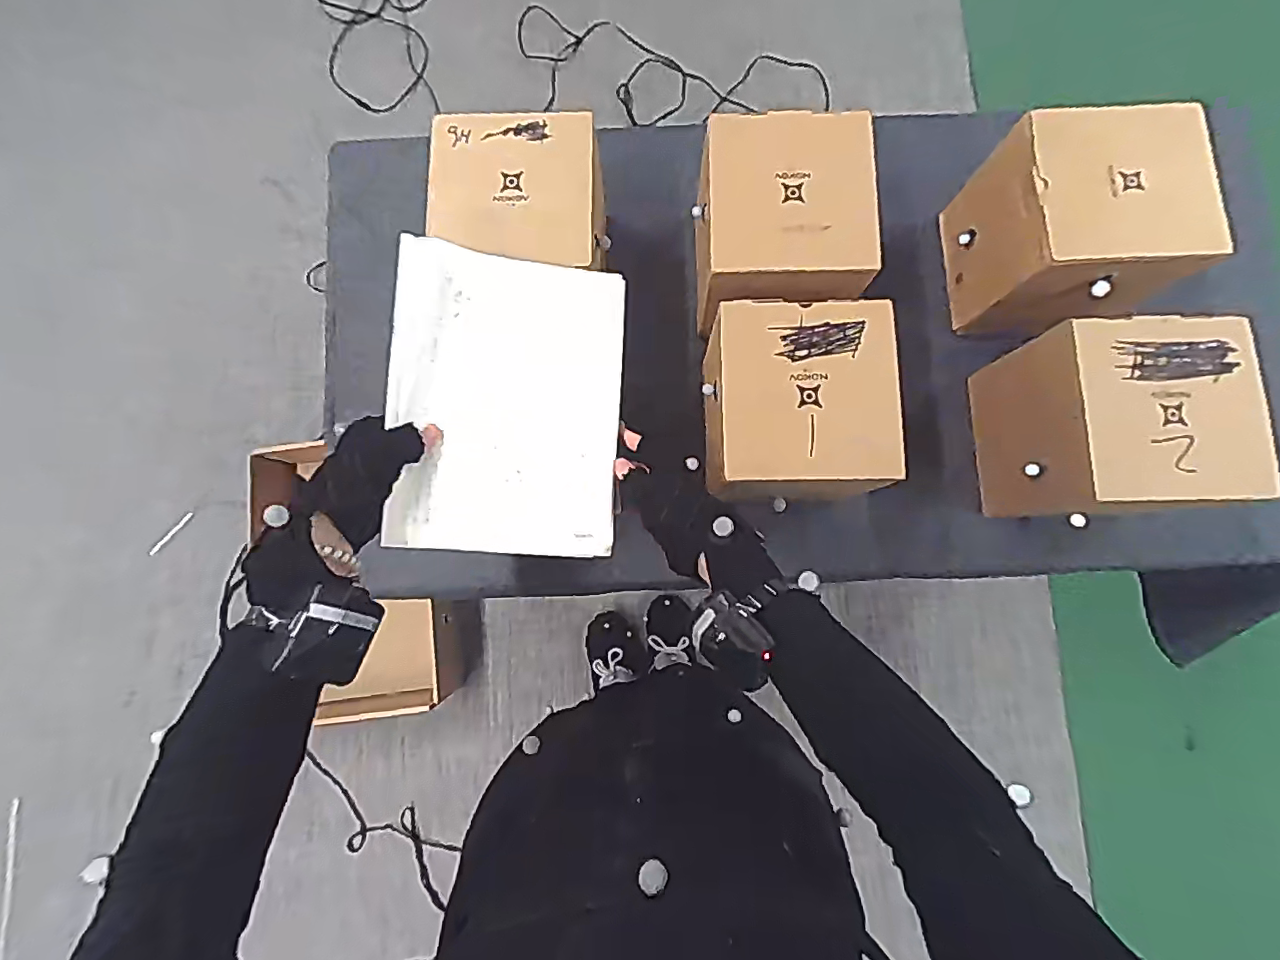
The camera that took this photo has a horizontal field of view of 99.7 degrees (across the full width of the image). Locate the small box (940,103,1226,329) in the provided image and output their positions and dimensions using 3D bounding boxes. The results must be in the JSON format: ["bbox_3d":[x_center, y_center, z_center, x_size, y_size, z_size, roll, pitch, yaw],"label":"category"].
[{"bbox_3d":[0.475,-0.282,0.609,0.179,0.176,0.168,-2,81,2],"label":"small box"}]
